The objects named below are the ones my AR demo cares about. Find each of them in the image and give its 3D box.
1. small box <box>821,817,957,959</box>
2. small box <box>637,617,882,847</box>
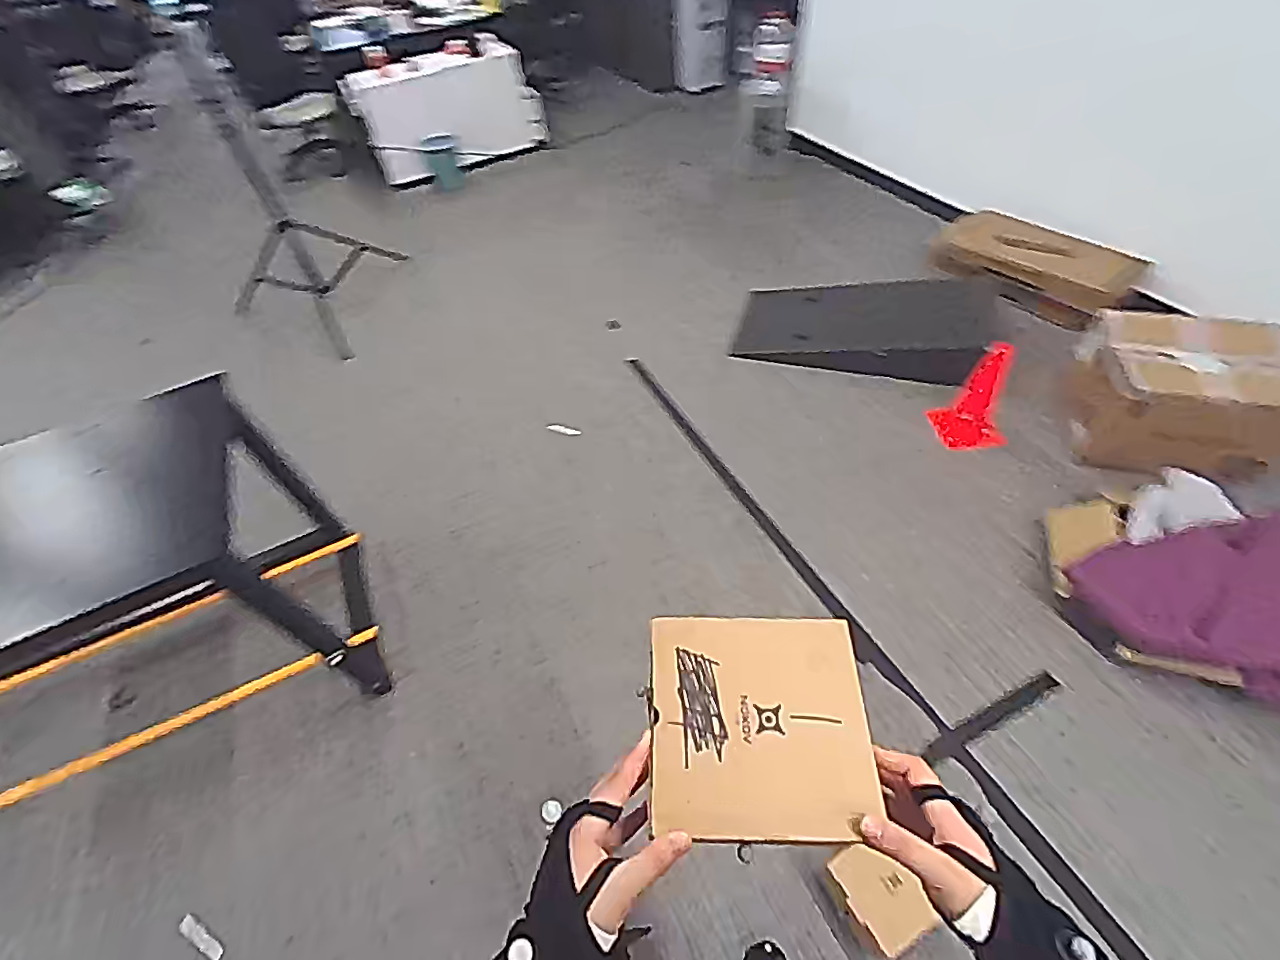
[{"bbox_3d":[0.486,0.819,1.088,0.179,0.176,0.168,-26,53,-13],"label":"small box"},{"bbox_3d":[0.087,0.233,0.492,0.179,0.176,0.168,0,56,0],"label":"small box"}]
